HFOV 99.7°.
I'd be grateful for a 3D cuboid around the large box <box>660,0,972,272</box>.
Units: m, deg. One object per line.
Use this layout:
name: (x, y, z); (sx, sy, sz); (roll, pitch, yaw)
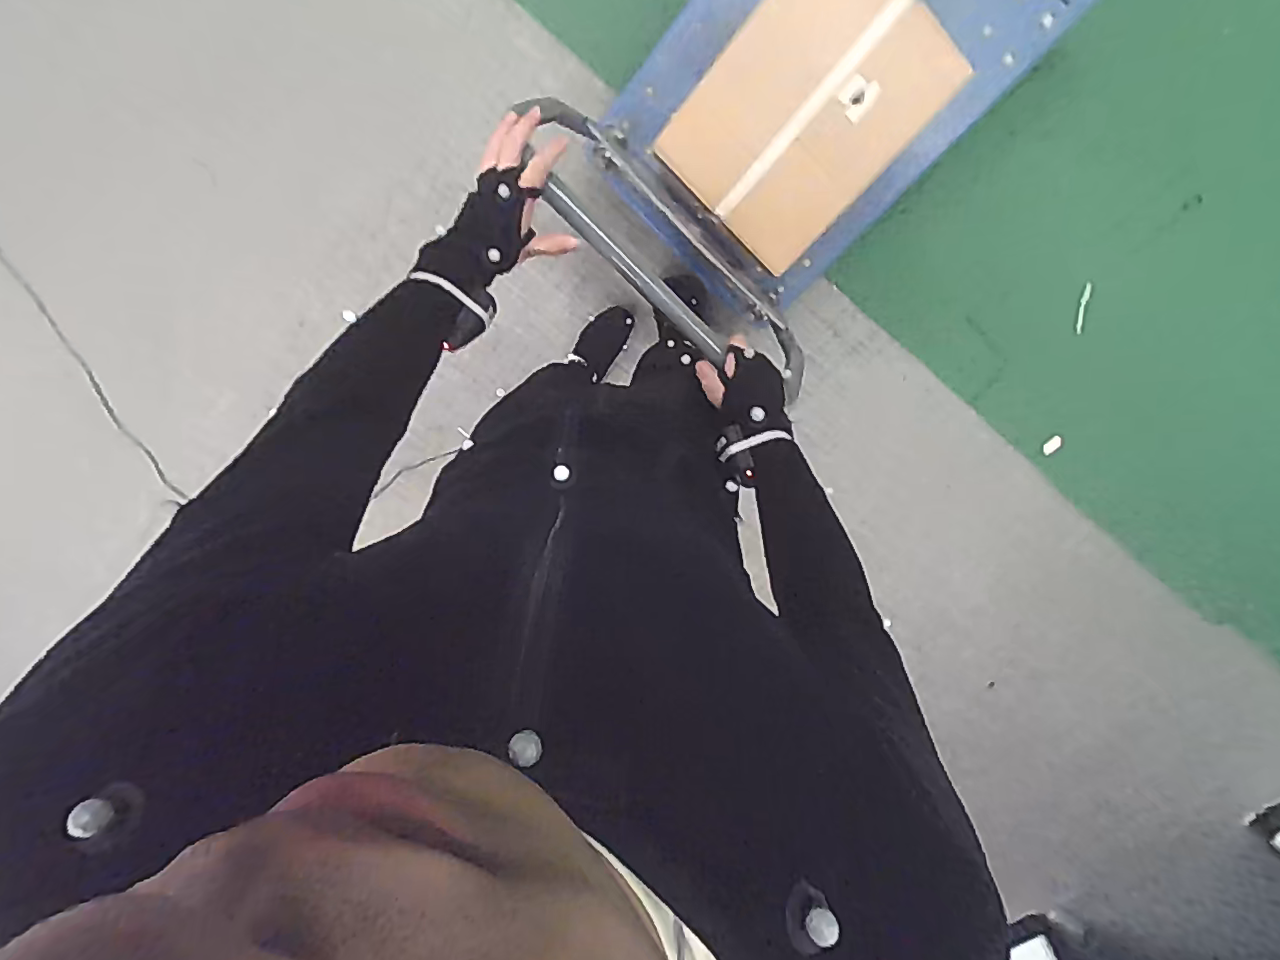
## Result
large box: (0.285, -0.656, 1.006); (0.320, 0.320, 0.408); (41, 112, -14)
